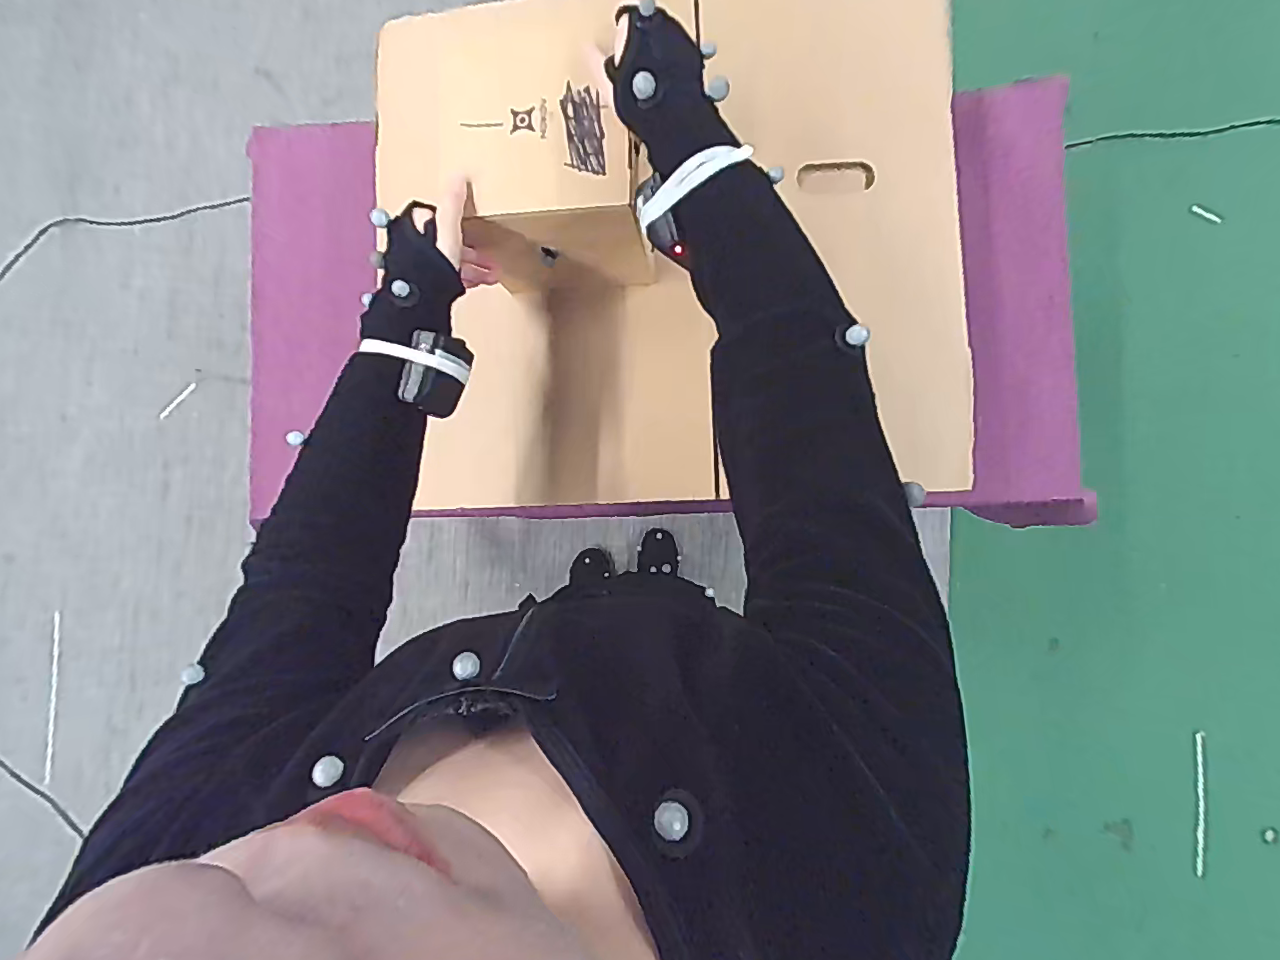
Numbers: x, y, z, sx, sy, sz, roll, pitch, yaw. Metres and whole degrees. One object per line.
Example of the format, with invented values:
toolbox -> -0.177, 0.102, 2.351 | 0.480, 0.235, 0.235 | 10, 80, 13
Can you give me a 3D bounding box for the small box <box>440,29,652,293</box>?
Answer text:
small box -> -0.082, -0.304, 0.553 | 0.179, 0.176, 0.168 | 0, 88, 9
